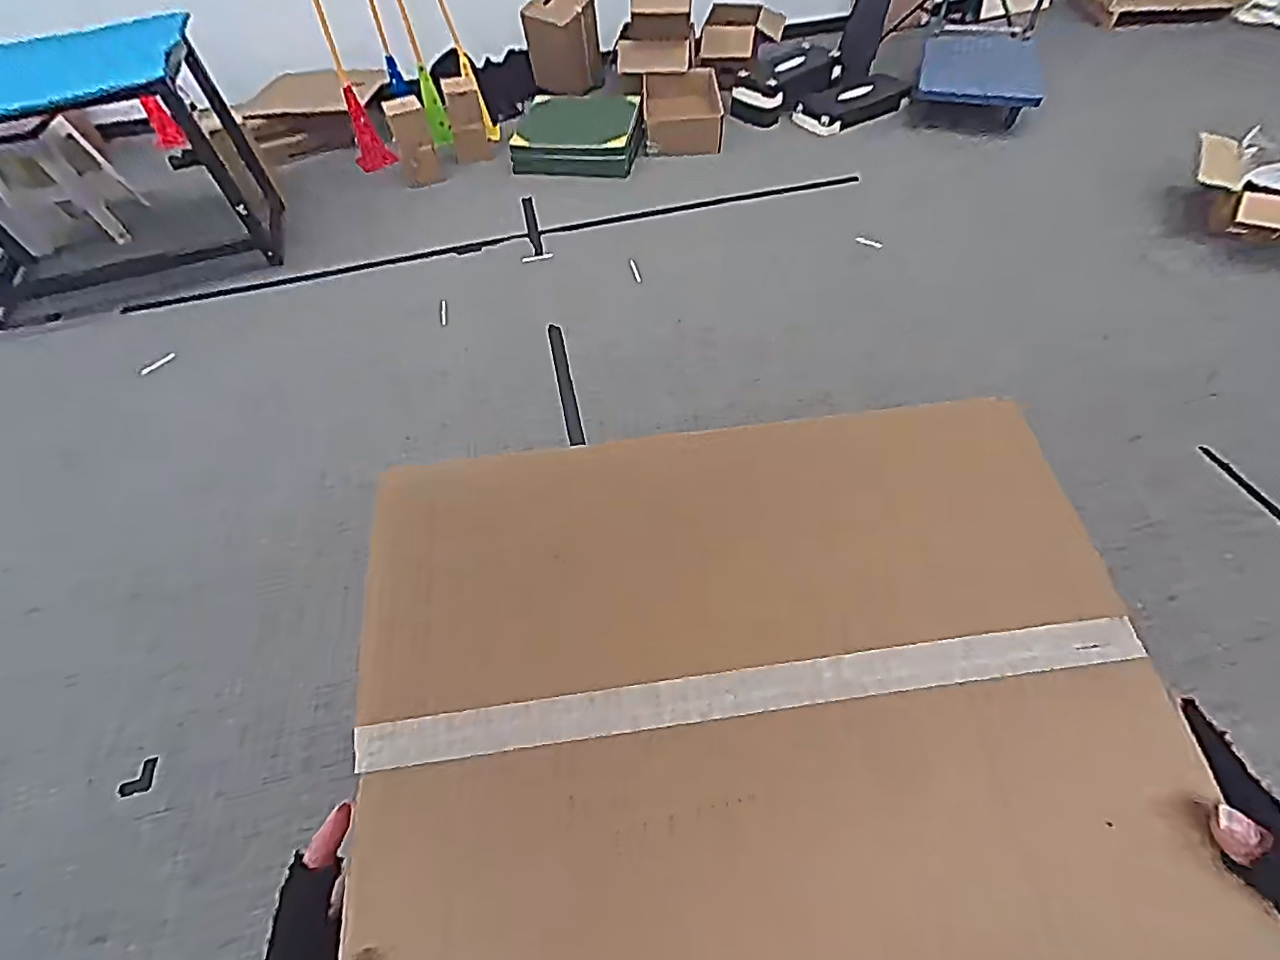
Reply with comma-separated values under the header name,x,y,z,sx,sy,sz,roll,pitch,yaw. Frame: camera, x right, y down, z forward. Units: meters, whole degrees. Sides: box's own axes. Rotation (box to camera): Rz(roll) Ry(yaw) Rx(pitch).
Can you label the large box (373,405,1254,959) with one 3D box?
name,x,y,z,sx,sy,sz,roll,pitch,yaw
large box,0.061,0.176,0.429,0.408,0.320,0.320,-7,65,-3
